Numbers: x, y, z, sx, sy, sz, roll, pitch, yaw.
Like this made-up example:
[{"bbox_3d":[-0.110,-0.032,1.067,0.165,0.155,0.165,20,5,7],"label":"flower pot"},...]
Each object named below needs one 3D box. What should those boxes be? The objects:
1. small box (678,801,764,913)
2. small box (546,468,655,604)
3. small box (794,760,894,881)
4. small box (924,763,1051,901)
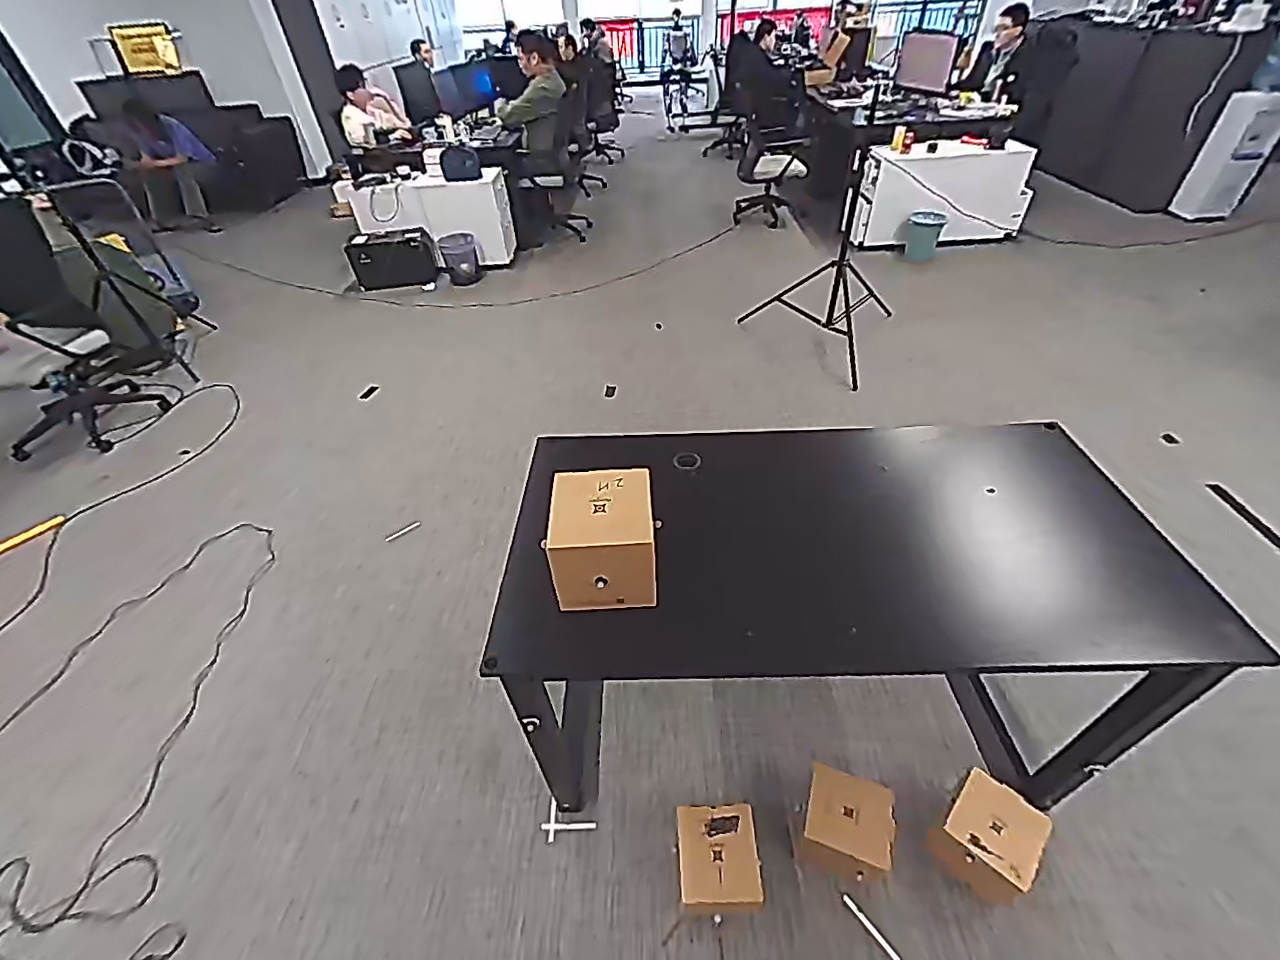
[{"bbox_3d":[0.170,0.836,1.199,0.168,0.176,0.179,-3,44,2],"label":"small box"},{"bbox_3d":[-0.061,0.102,0.936,0.168,0.176,0.179,-3,42,0],"label":"small box"},{"bbox_3d":[0.464,0.782,1.237,0.179,0.176,0.168,12,44,18],"label":"small box"},{"bbox_3d":[0.766,0.784,1.207,0.168,0.176,0.179,31,53,33],"label":"small box"}]
